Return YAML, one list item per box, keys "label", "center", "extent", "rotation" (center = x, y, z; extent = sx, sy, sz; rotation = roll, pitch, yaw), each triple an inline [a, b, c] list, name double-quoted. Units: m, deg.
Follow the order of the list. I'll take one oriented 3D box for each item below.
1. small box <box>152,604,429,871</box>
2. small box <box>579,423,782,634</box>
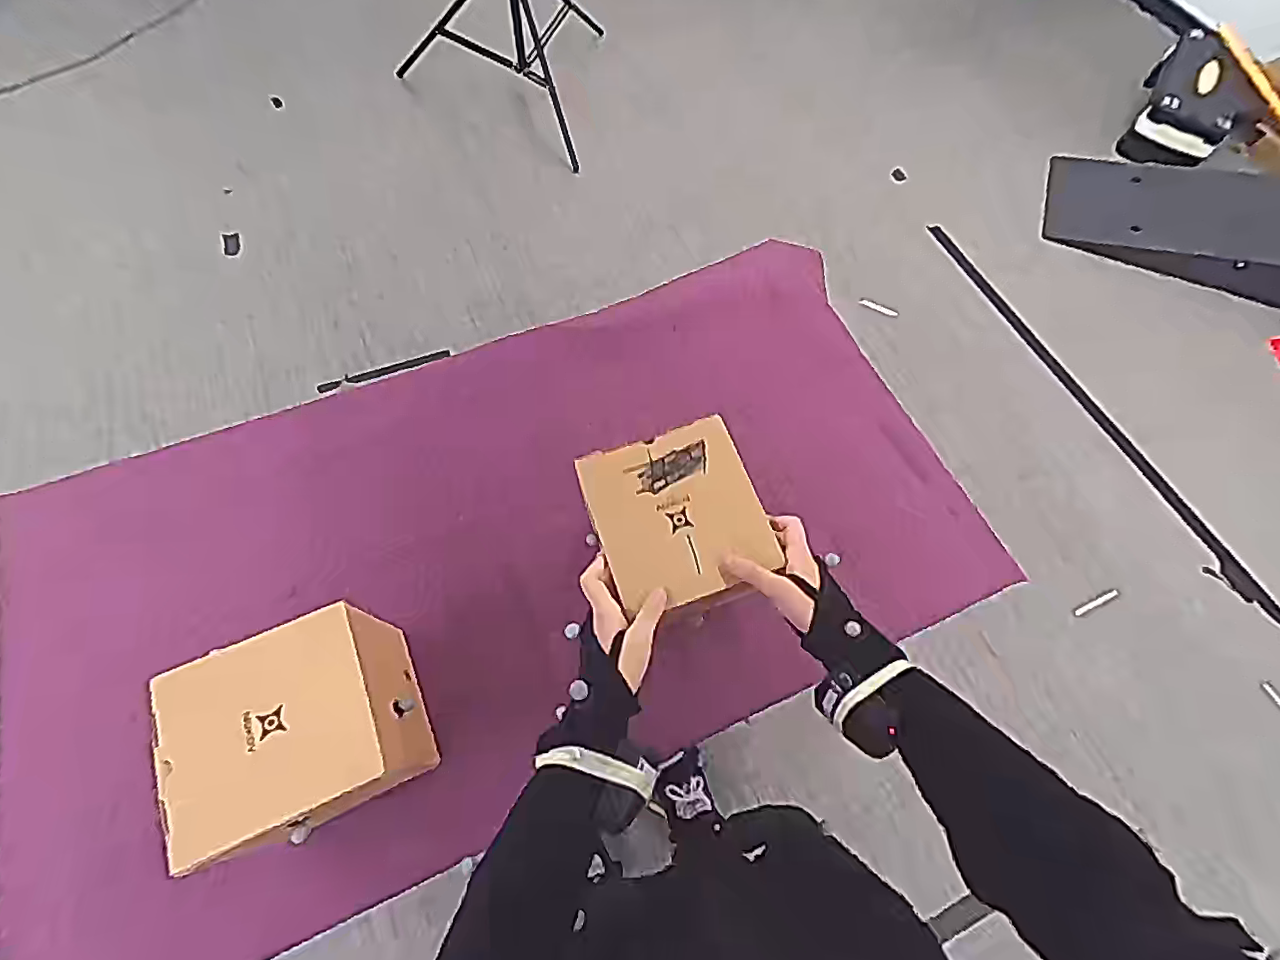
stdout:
- label: "small box"
  center: [-0.335, 0.249, 0.554]
  extent: [0.179, 0.176, 0.168]
  rotation: [-23, 69, -12]
- label: "small box"
  center: [0.036, 0.065, 0.627]
  extent: [0.168, 0.176, 0.179]
  rotation: [-18, 71, -6]
